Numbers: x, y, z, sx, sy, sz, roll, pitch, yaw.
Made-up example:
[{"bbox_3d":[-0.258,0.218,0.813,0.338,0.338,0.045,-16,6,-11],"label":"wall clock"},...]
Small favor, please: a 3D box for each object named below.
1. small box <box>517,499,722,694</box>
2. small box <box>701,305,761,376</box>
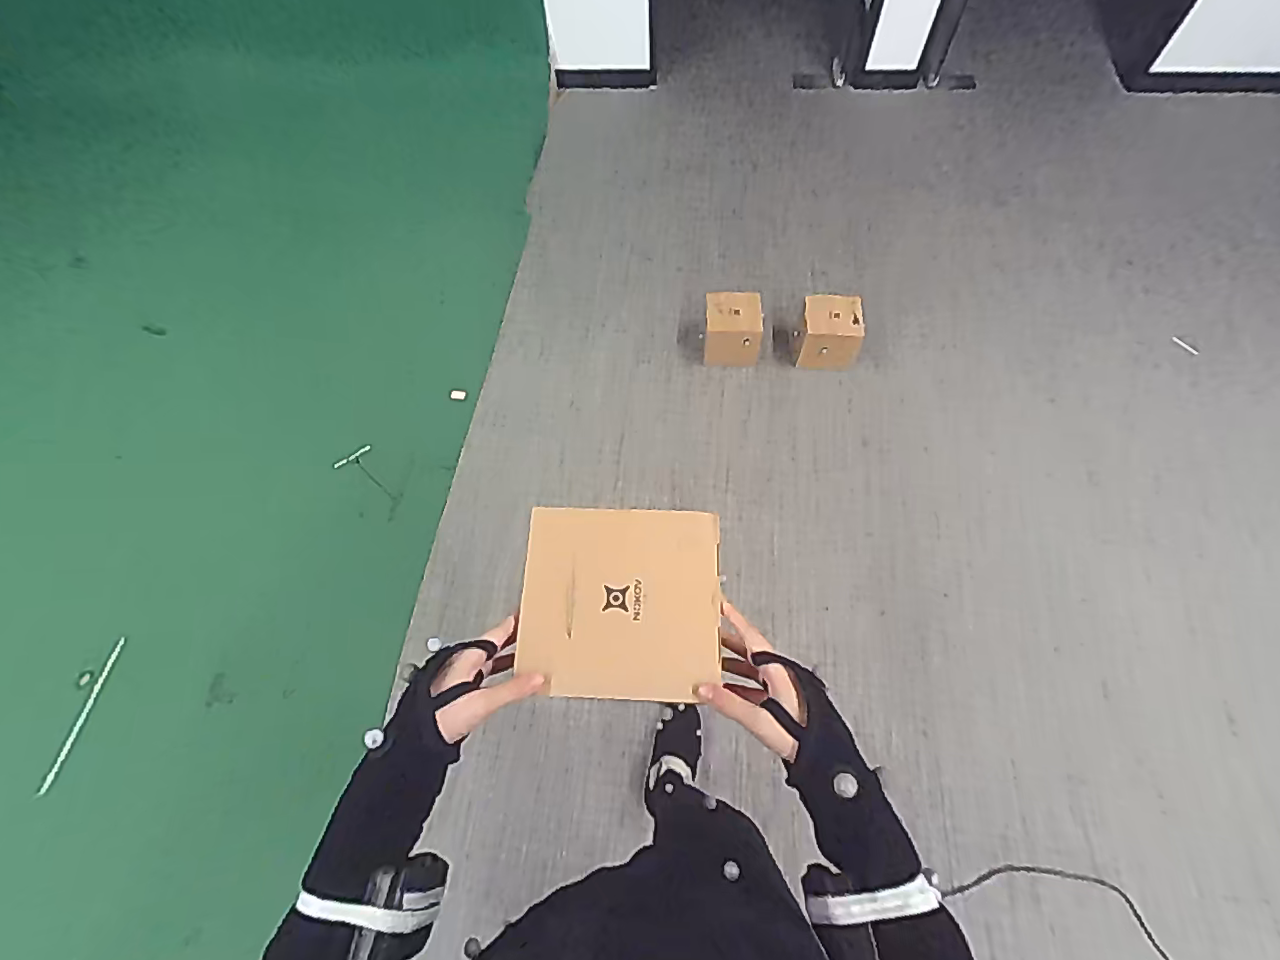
[{"bbox_3d":[-0.012,0.128,0.560,0.179,0.176,0.168,1,66,4],"label":"small box"},{"bbox_3d":[0.297,-0.459,1.794,0.179,0.176,0.168,1,62,4],"label":"small box"}]
